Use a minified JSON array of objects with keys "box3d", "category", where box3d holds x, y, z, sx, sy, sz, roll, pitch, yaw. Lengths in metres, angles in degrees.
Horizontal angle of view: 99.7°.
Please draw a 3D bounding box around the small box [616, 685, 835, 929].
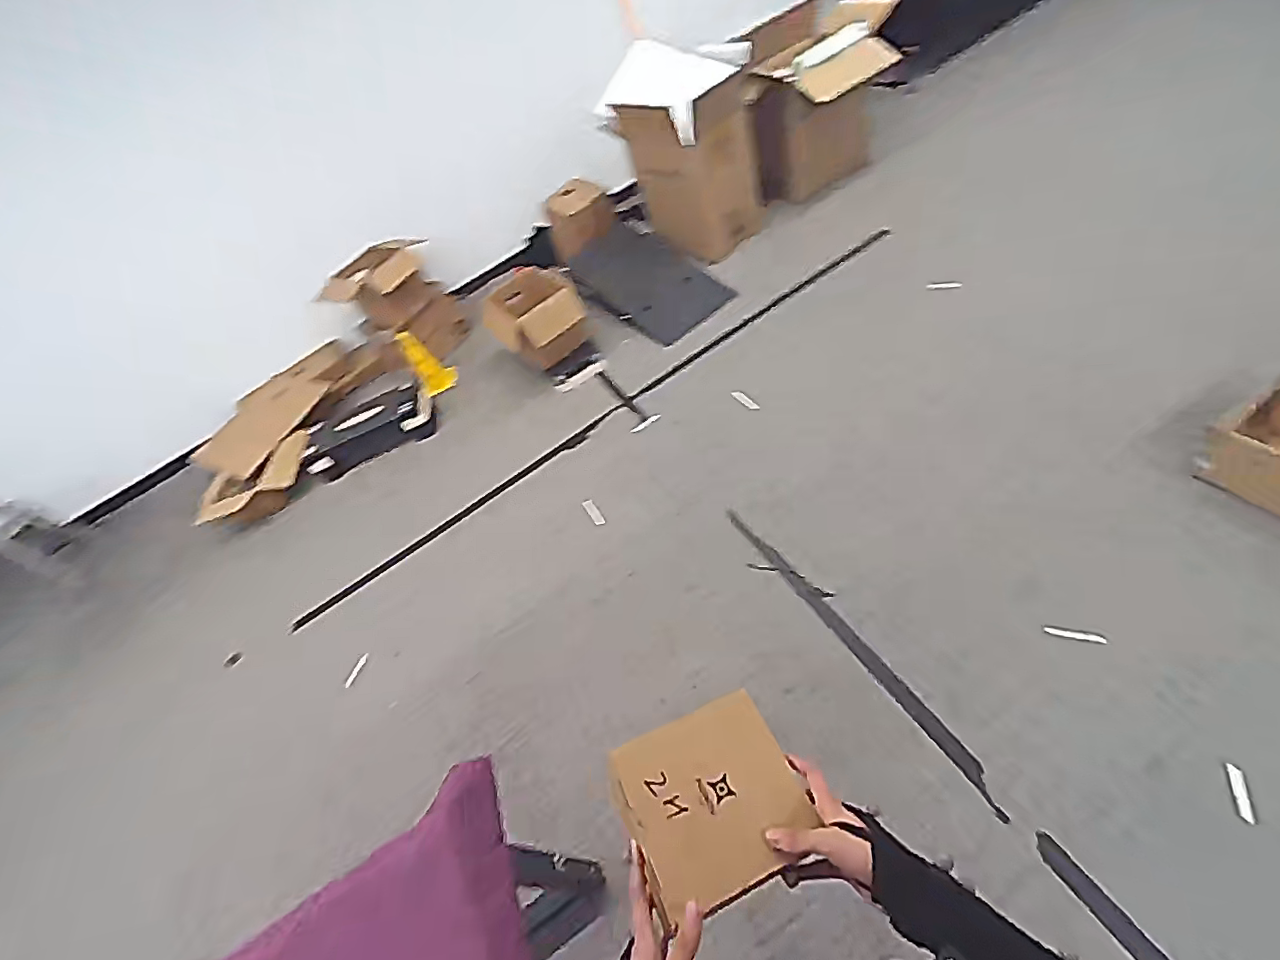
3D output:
[{"box3d":[0.080,0.367,0.610,0.179,0.176,0.168,-17,50,-16],"category":"small box"}]
